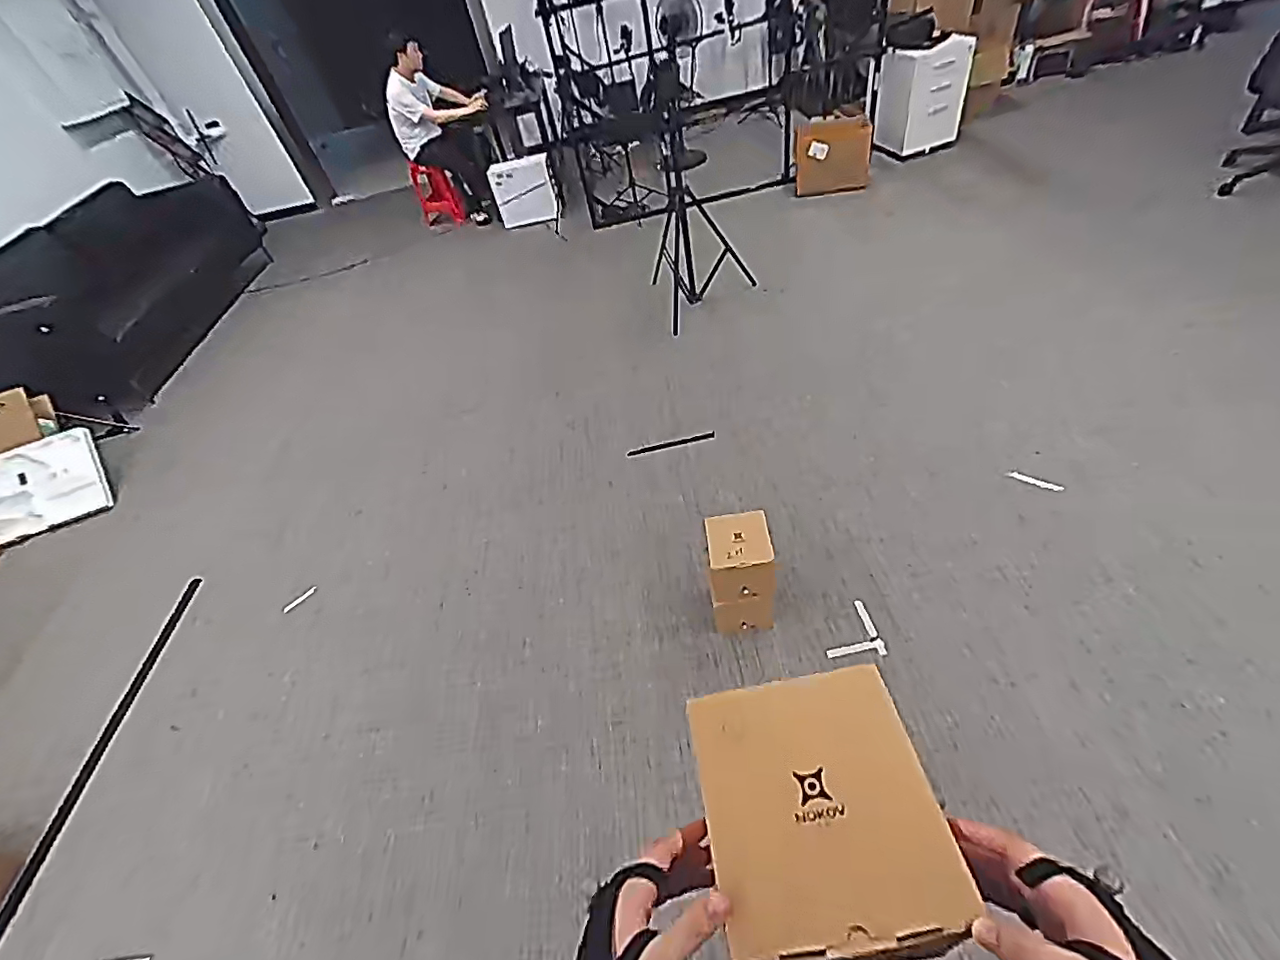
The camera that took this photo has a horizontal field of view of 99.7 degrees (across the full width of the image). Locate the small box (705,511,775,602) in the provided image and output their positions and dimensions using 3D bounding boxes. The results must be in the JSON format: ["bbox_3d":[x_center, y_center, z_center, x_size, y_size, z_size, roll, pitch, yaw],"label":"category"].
[{"bbox_3d":[0.275,0.212,1.488,0.168,0.176,0.179,-9,46,8],"label":"small box"}]
